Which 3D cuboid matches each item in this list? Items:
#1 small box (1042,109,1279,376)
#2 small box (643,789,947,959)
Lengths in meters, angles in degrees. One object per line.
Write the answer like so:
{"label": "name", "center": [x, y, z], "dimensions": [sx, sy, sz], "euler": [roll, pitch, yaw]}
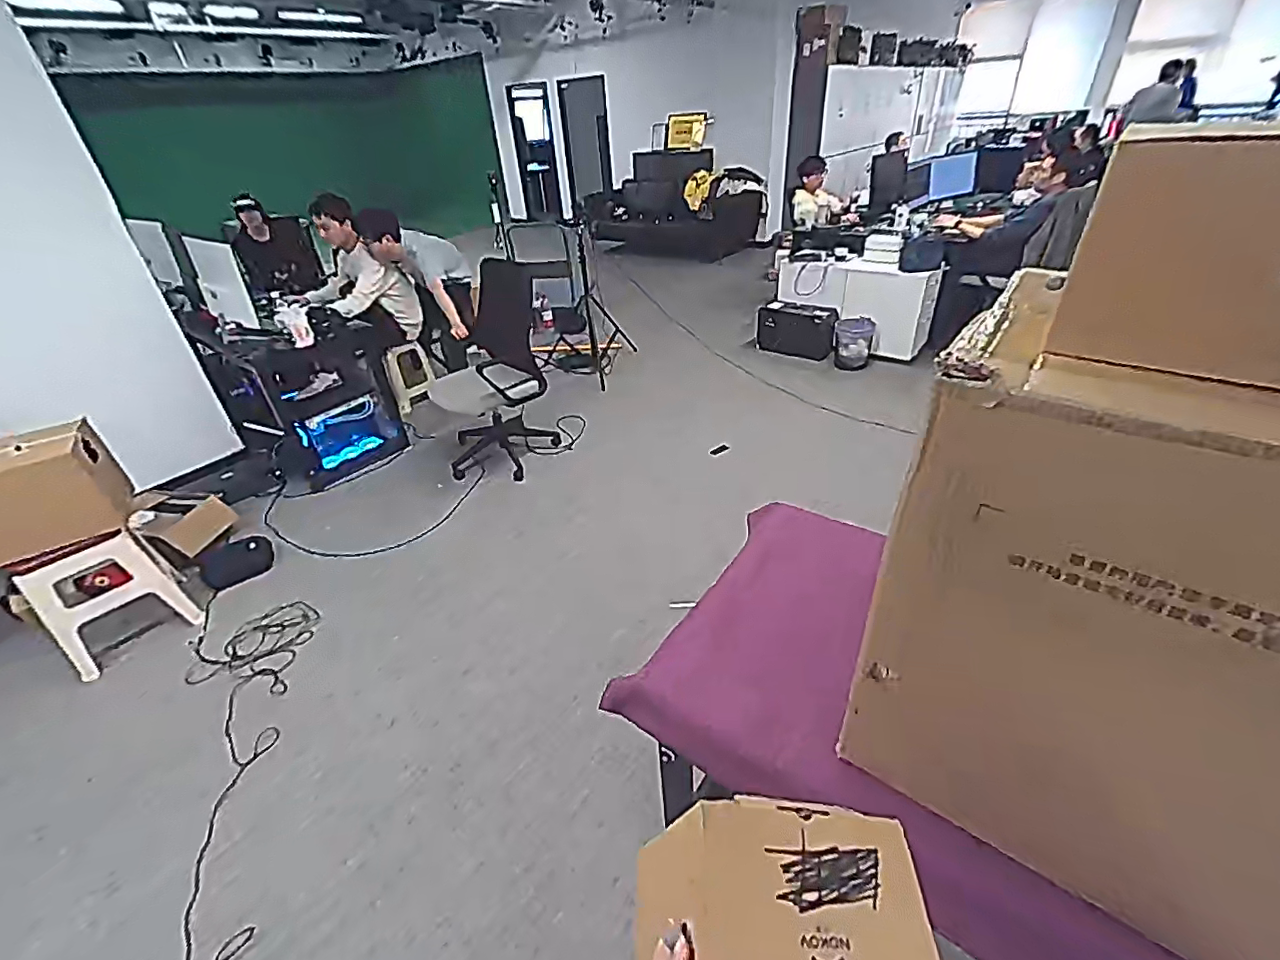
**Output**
{"label": "small box", "center": [0.476, -0.200, 0.449], "dimensions": [0.179, 0.176, 0.168], "euler": [21, 41, 33]}
{"label": "small box", "center": [0.101, 0.355, 0.396], "dimensions": [0.168, 0.176, 0.179], "euler": [12, 43, -11]}
